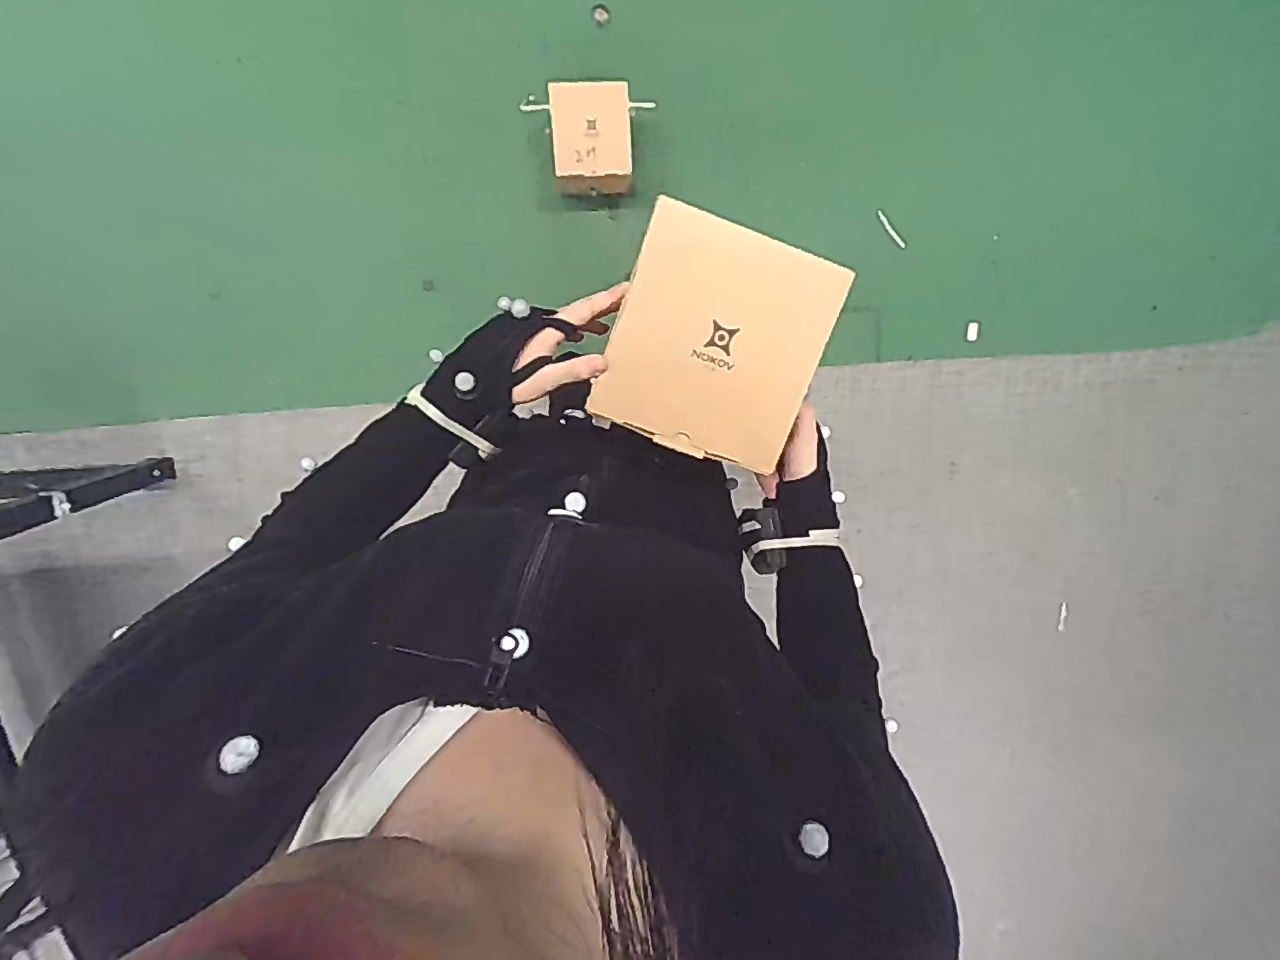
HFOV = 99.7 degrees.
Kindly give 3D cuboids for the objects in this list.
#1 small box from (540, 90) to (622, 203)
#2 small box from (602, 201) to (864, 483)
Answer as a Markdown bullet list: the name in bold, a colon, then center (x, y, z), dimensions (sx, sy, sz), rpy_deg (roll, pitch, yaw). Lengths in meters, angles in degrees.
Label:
- **small box**: center (-0.133, -0.736, 1.209), dimensions (0.168, 0.176, 0.179), rpy_deg (-4, 105, -6)
- **small box**: center (0.066, -0.119, 0.505), dimensions (0.168, 0.176, 0.179), rpy_deg (19, 100, -8)
